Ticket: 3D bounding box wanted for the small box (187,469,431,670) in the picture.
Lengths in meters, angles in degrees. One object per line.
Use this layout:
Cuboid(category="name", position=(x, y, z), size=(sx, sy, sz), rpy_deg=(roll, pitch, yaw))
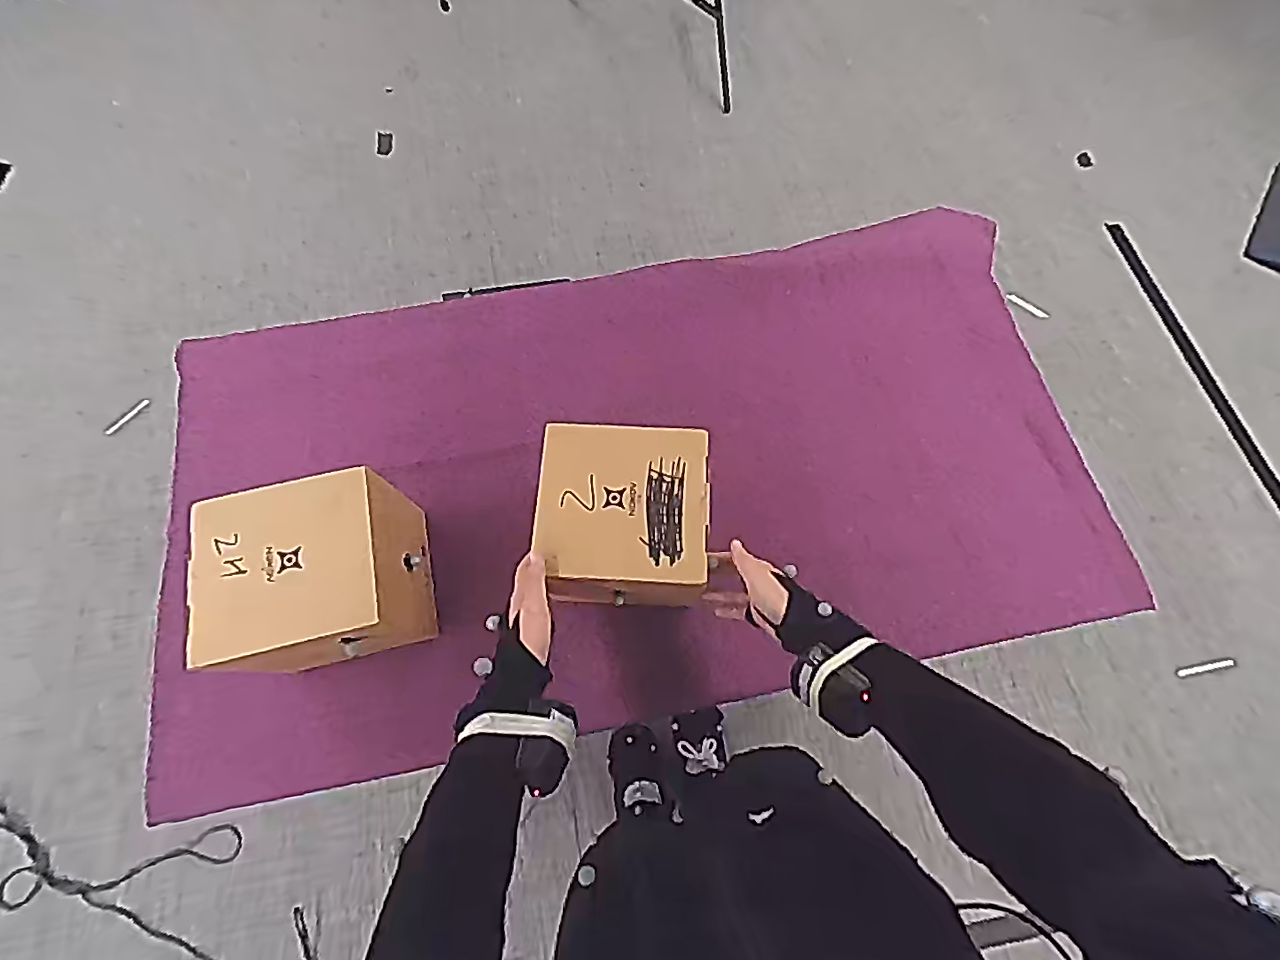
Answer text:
Cuboid(category="small box", position=(-0.345, 0.107, 0.598), size=(0.179, 0.176, 0.168), rpy_deg=(-13, 70, -5))
